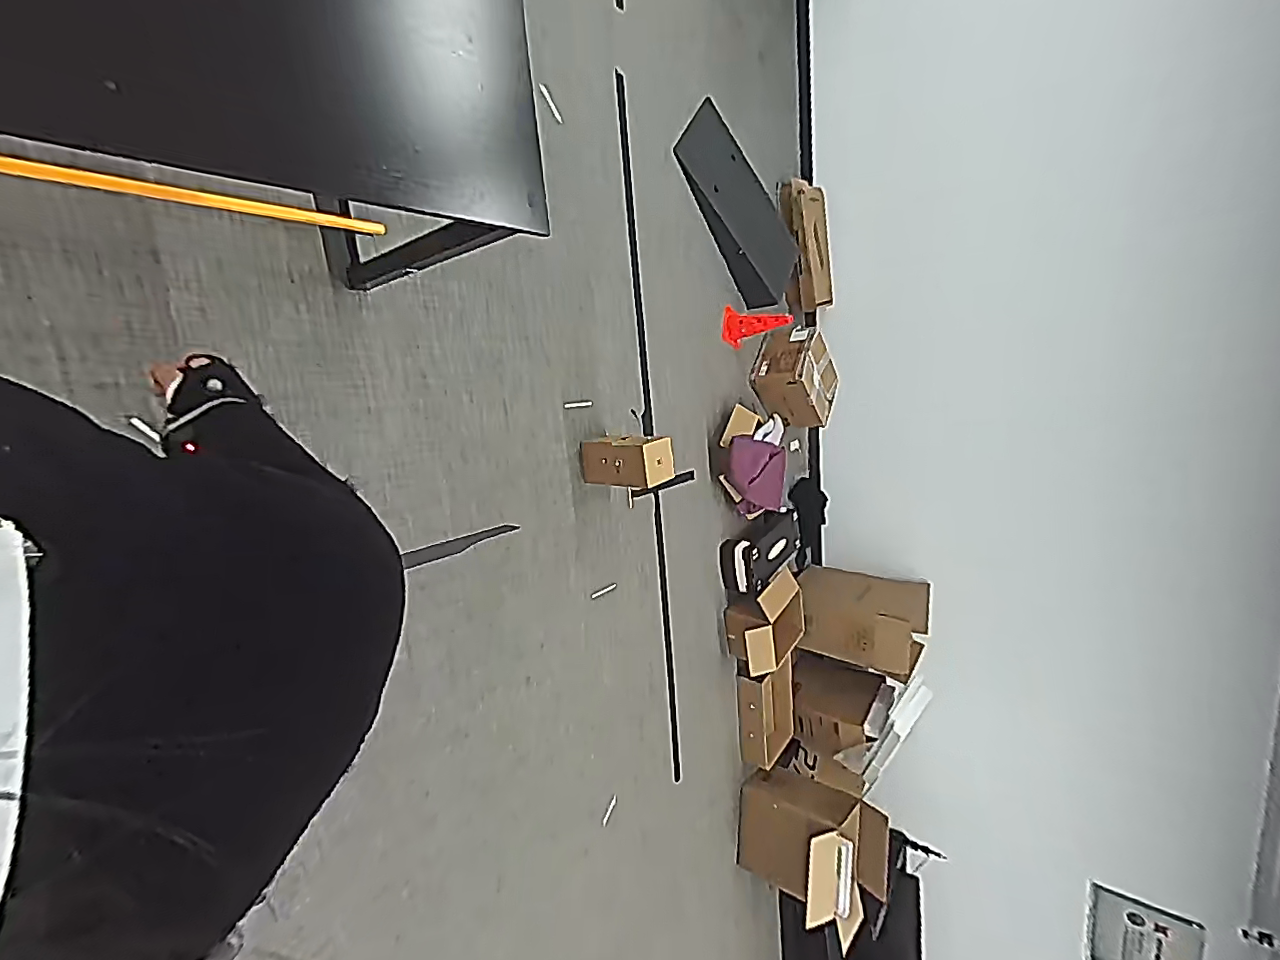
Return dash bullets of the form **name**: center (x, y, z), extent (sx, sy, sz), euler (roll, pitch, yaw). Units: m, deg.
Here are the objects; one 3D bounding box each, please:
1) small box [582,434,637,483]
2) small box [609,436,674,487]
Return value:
- **small box**: center (-0.118, -0.089, 2.179), extent (0.168, 0.176, 0.179), euler (-20, 108, -49)
- **small box**: center (0.007, -0.076, 2.076), extent (0.179, 0.176, 0.168), euler (-22, 108, -47)
